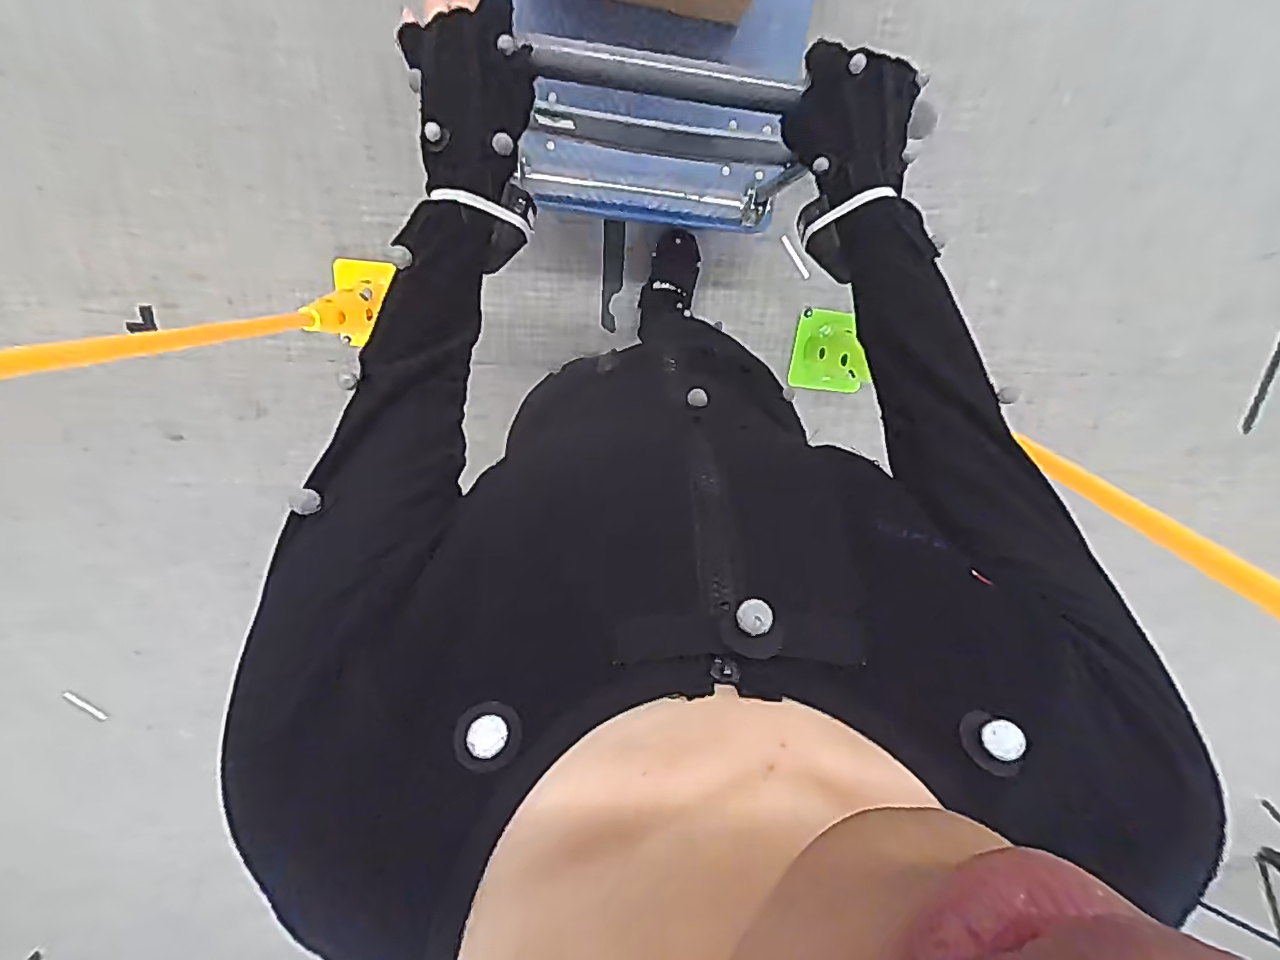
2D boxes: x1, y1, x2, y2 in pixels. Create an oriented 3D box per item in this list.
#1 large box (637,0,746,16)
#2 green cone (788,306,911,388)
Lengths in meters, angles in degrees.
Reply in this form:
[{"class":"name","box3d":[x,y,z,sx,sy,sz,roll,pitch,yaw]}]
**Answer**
[{"class":"large box","box3d":[0.013,-0.963,0.801,0.408,0.320,0.320,7,111,-5]},{"class":"green cone","box3d":[0.508,-0.282,1.255,0.202,0.368,0.200,4,111,-6]}]
